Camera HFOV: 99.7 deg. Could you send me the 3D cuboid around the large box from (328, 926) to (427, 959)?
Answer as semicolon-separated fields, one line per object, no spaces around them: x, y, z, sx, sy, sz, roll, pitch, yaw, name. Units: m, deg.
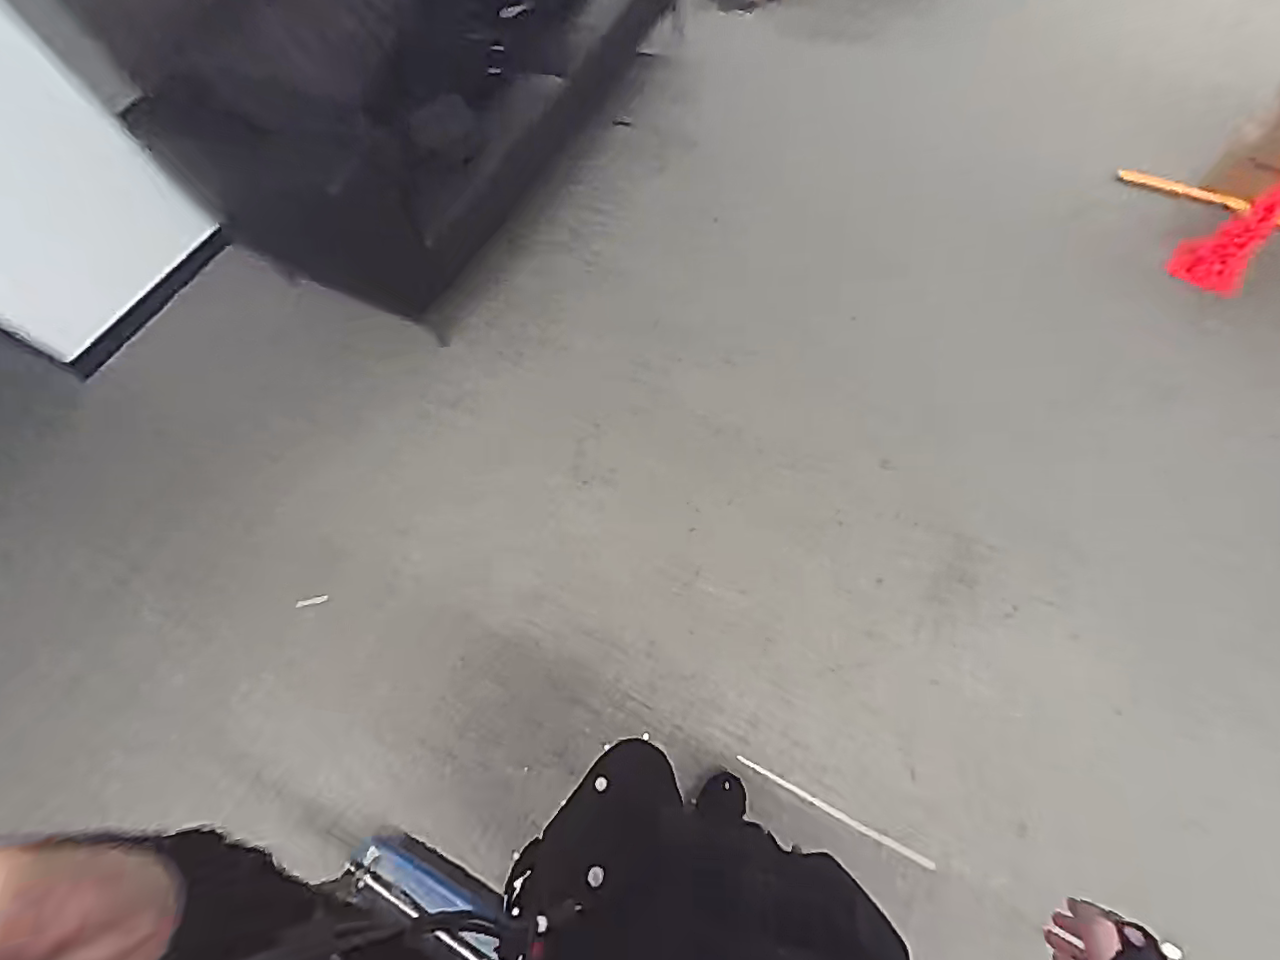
-0.510;1.090;0.899;0.320;0.320;0.408;24;69;17;large box
